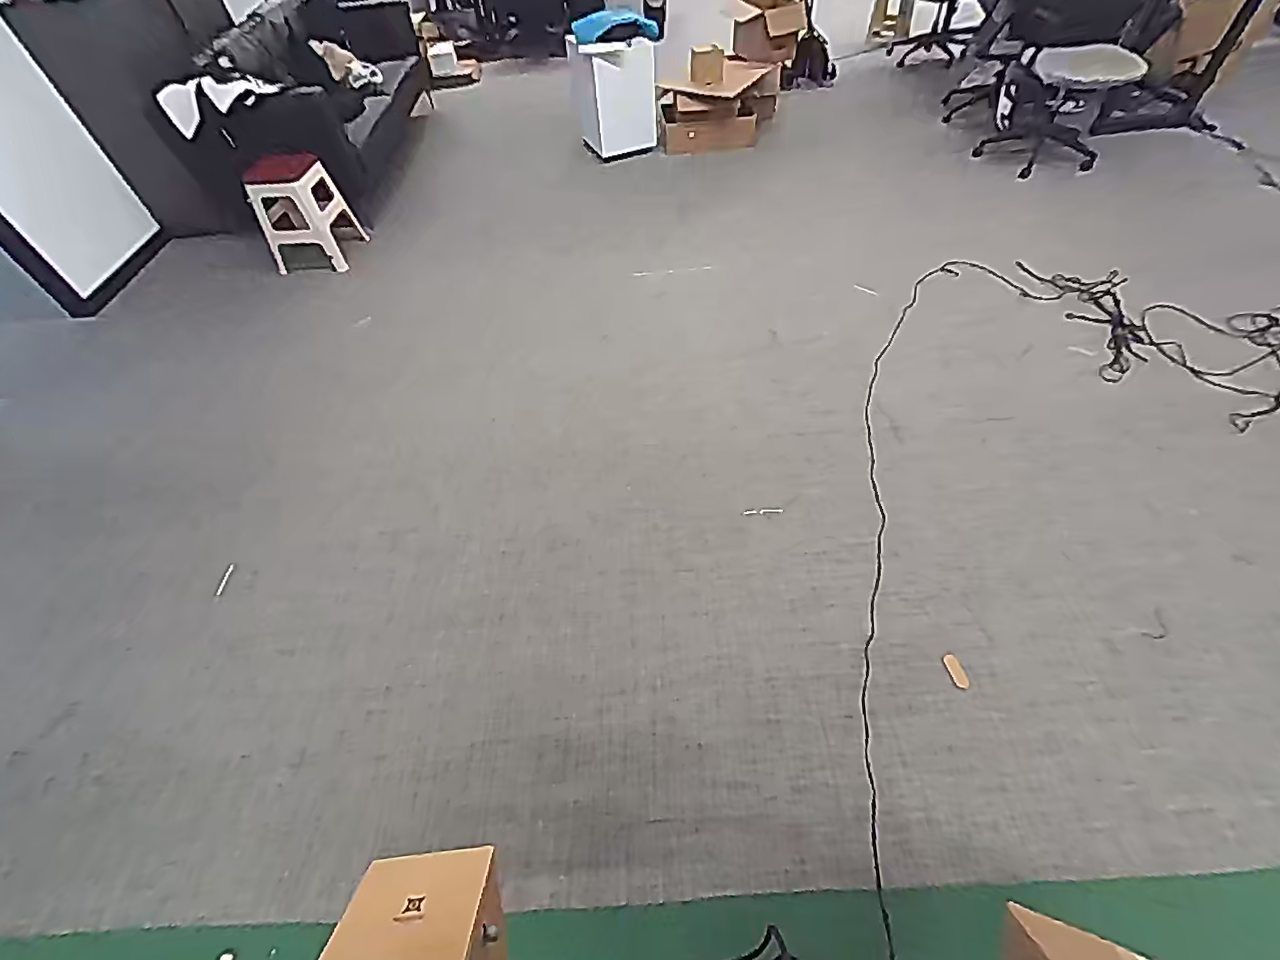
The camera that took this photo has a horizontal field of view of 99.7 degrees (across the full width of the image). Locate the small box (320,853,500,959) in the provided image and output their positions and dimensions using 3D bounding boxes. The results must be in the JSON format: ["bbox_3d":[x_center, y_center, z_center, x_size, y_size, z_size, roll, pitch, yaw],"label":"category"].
[{"bbox_3d":[-0.270,0.603,0.656,0.168,0.179,0.176,-5,94,-4],"label":"small box"}]
